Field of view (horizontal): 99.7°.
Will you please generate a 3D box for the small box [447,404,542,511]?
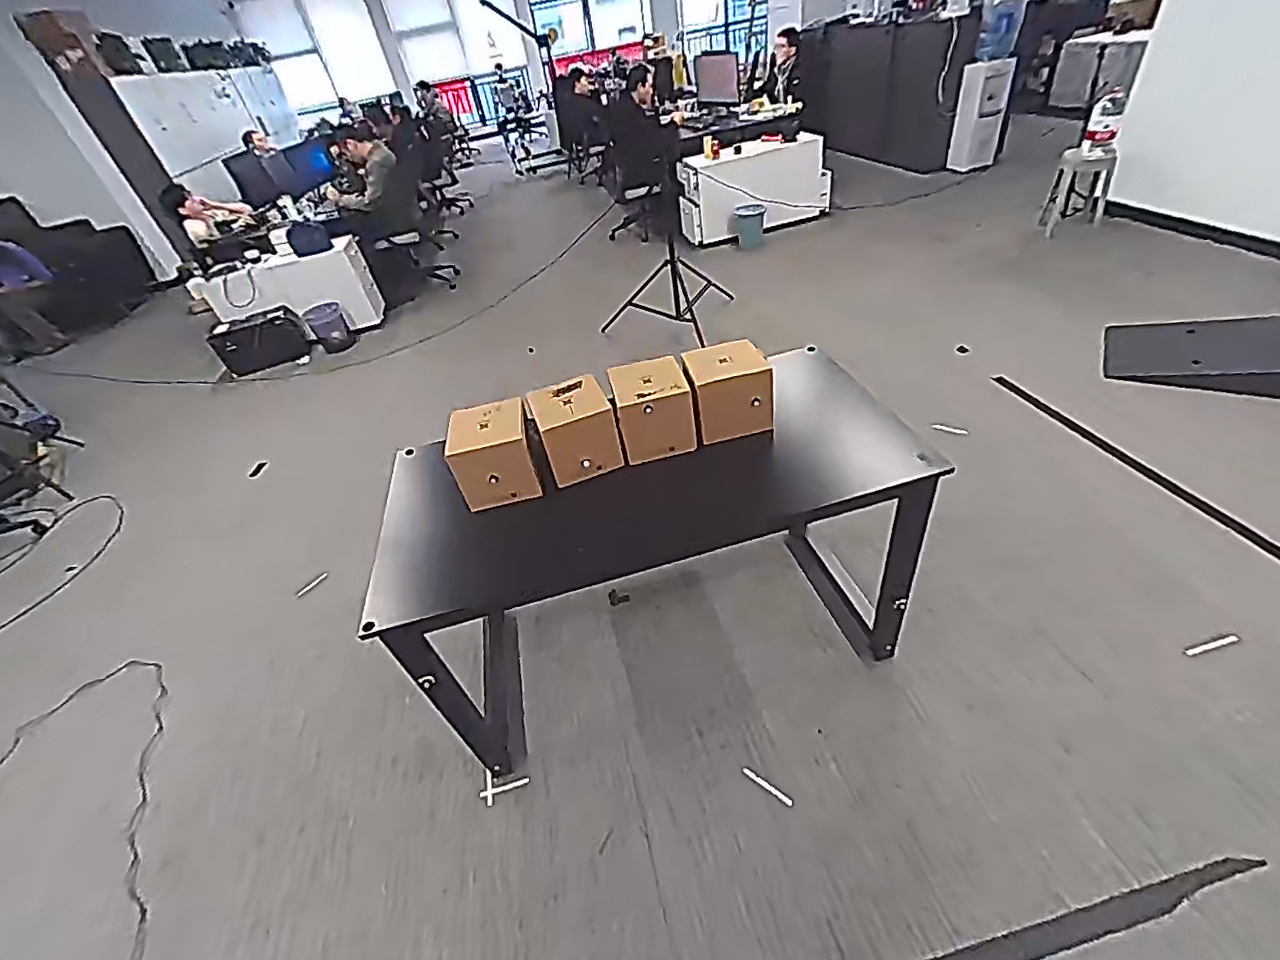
[{"bbox_3d":[-0.329,-0.046,1.248,0.168,0.176,0.179,-13,39,-2],"label":"small box"}]
